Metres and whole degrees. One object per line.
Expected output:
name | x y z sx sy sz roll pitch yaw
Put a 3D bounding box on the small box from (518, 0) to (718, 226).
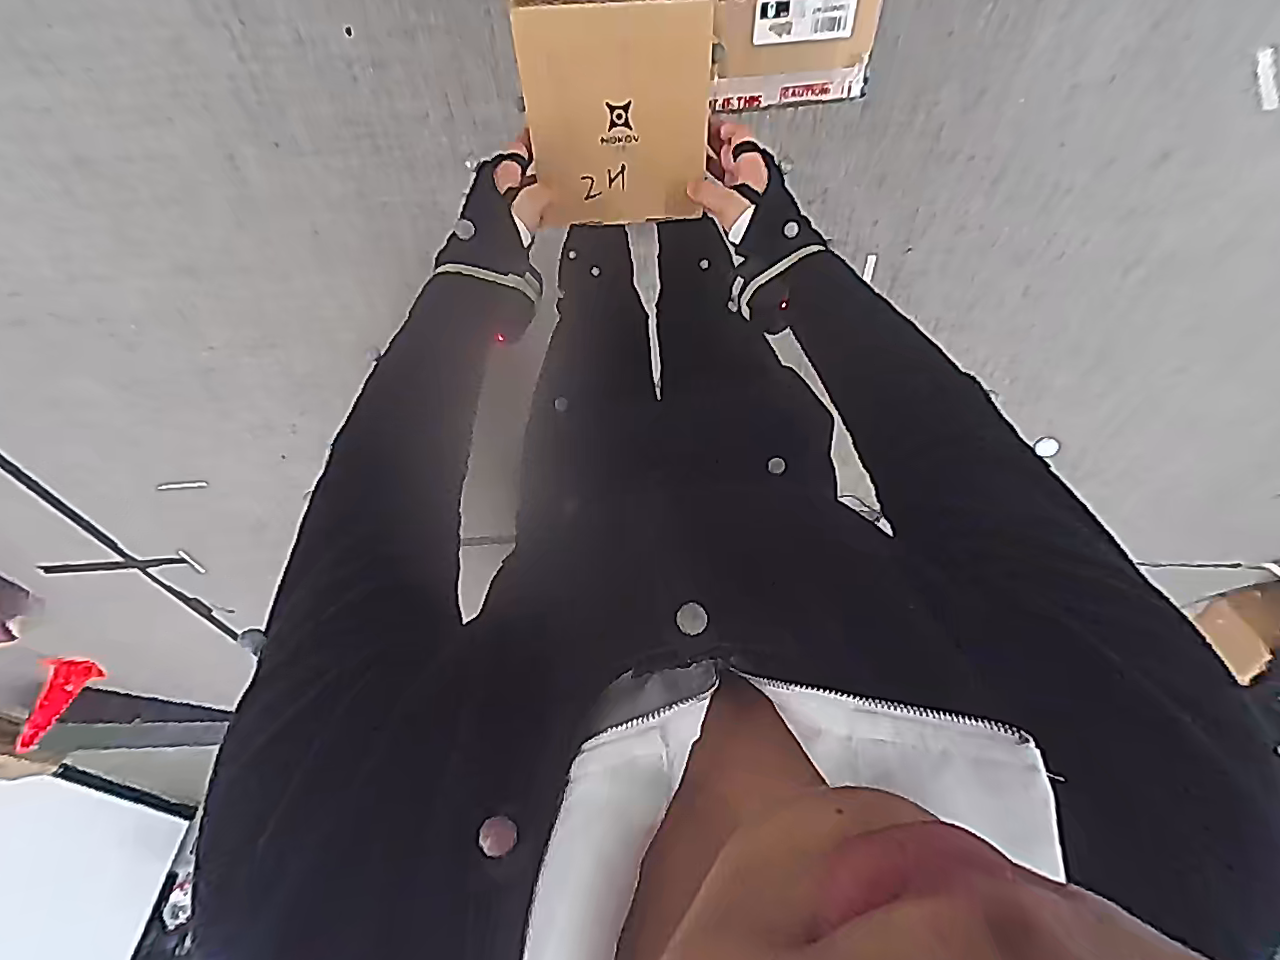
small box | -0.020 -0.384 0.545 0.168 0.176 0.179 -3 140 0
